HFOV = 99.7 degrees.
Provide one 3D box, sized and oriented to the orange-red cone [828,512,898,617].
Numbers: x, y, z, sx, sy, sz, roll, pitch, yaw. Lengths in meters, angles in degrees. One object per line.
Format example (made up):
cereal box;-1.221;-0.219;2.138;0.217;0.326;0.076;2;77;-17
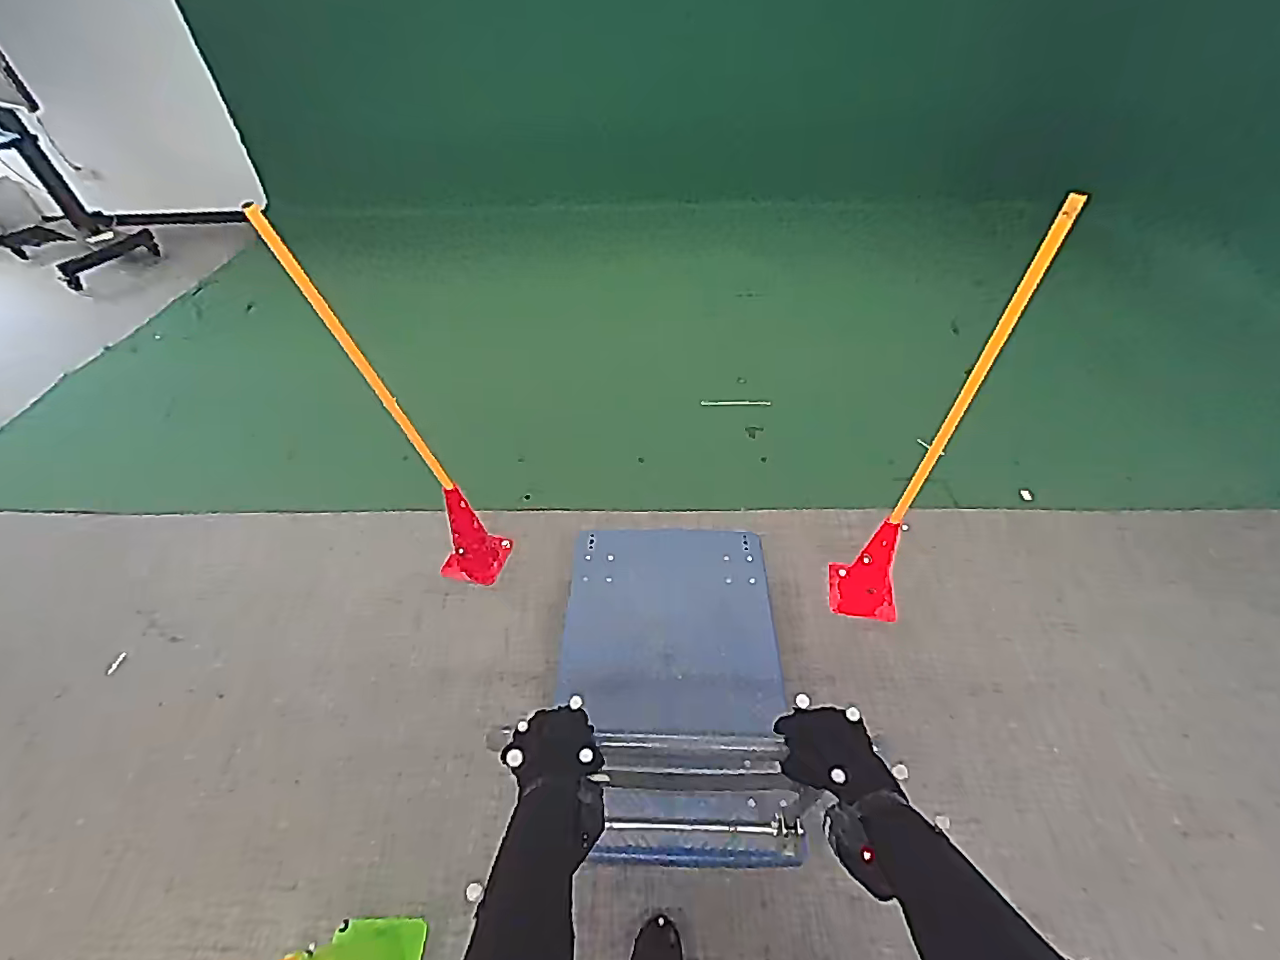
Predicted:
orange-red cone;0.706;0.228;1.628;0.198;0.360;0.199;7;47;10
